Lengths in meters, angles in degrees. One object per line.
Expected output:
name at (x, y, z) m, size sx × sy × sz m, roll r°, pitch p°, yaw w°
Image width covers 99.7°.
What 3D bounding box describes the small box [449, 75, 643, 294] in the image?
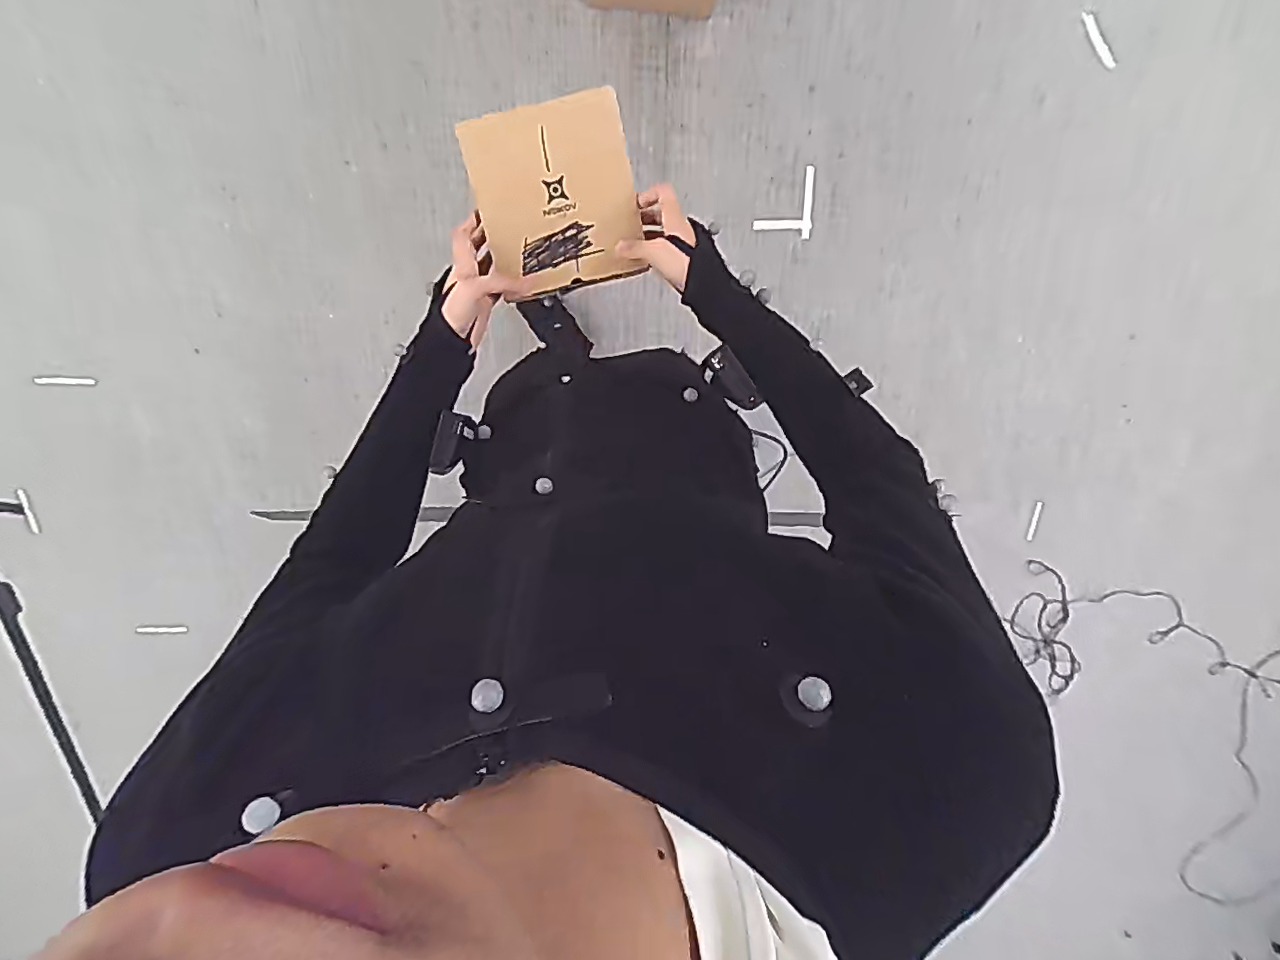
small box at (-0.094, -0.325, 0.628) m, size 0.168 × 0.176 × 0.179 m, roll -12°, pitch 110°, yaw 1°
